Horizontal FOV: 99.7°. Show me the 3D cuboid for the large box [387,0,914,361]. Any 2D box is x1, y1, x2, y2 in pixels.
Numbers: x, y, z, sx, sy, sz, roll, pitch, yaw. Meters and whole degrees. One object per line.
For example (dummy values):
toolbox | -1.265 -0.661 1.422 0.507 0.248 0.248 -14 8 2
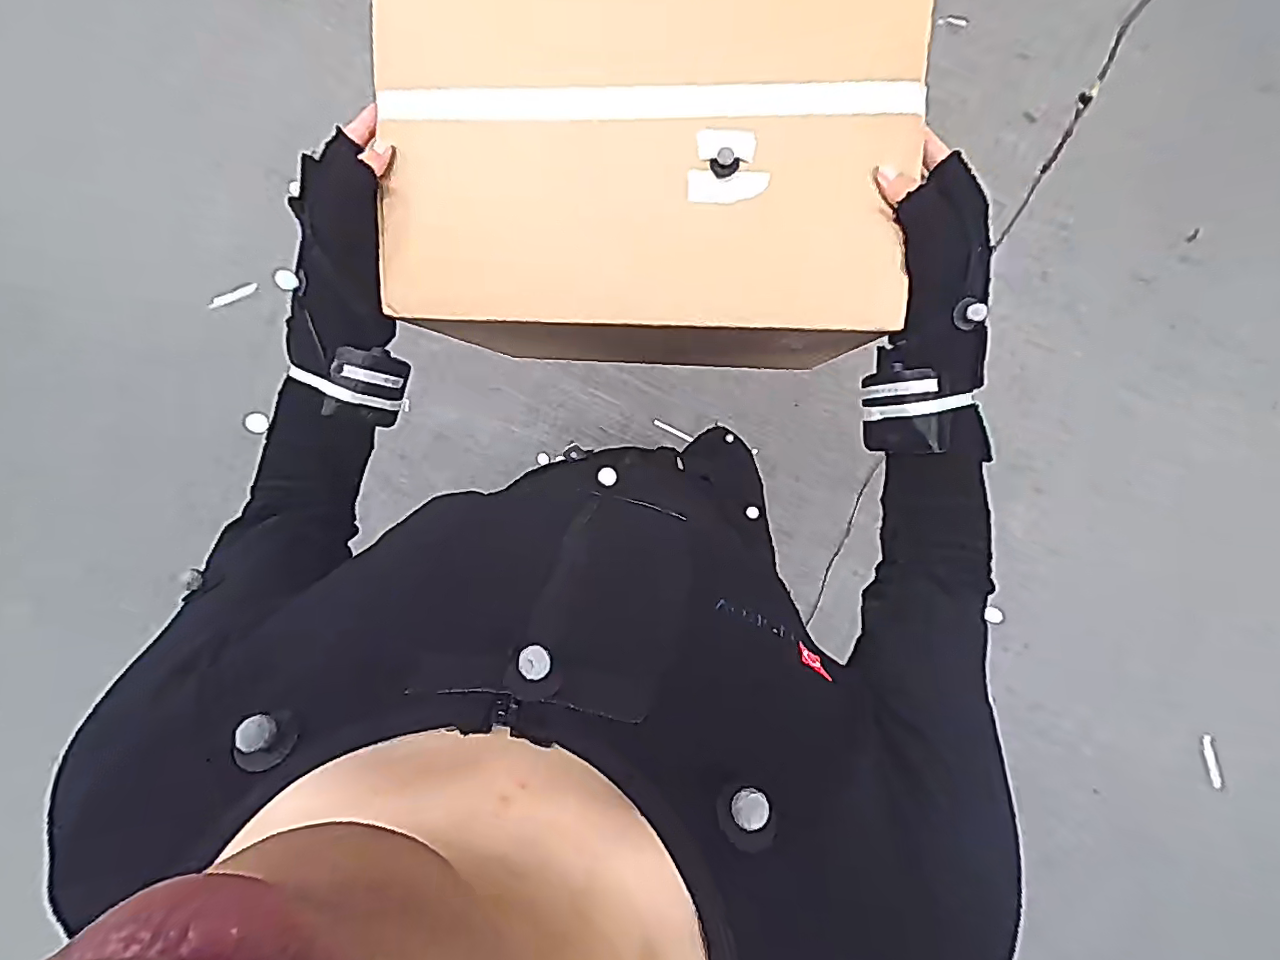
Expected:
large box | 0.010 -0.299 0.559 0.408 0.320 0.320 2 96 5
